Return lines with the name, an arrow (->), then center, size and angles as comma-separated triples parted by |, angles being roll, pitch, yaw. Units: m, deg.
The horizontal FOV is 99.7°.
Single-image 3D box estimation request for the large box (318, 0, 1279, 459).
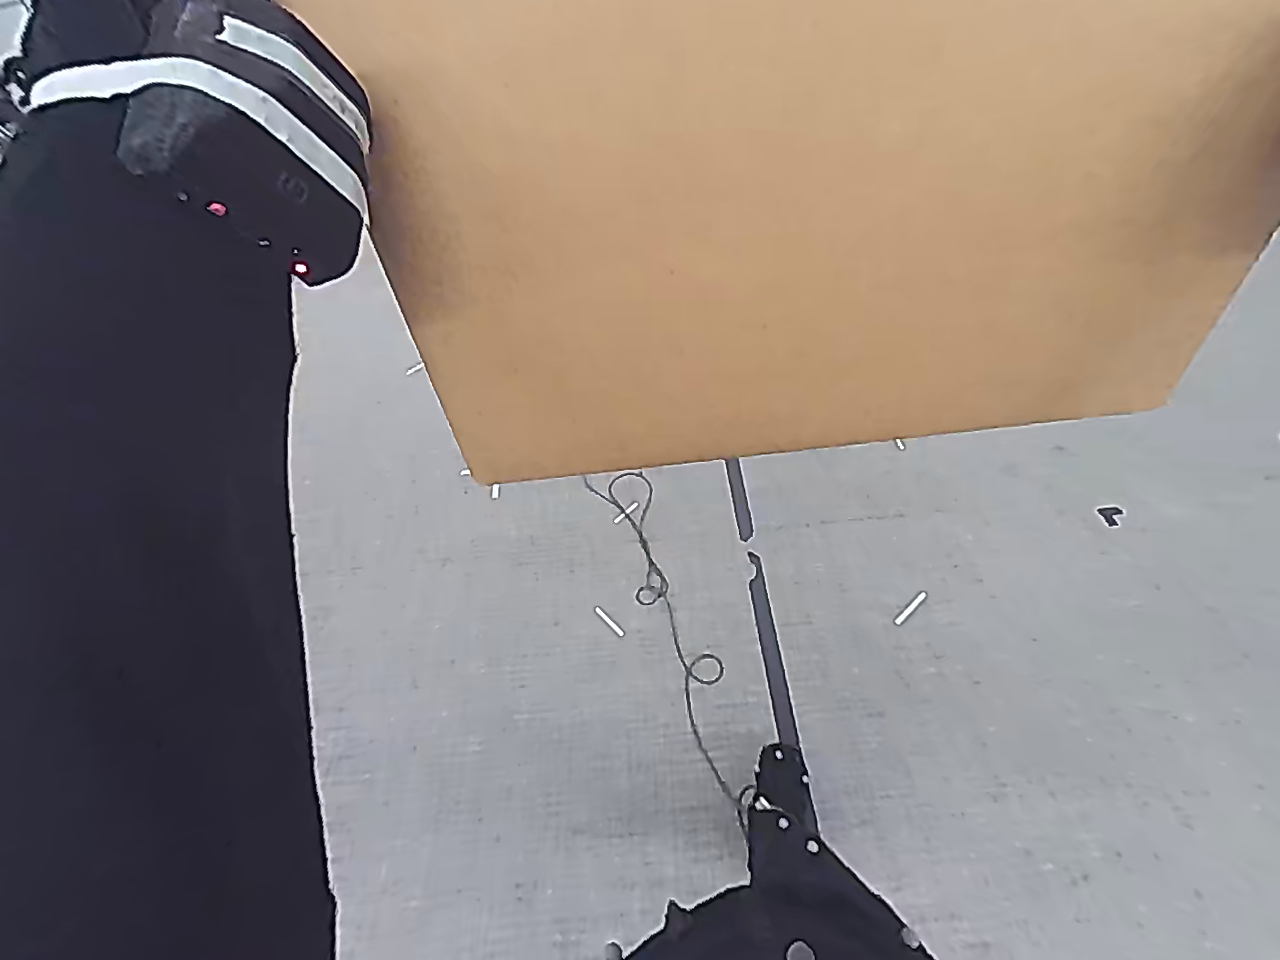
large box -> 0.076, -0.240, 0.340 | 0.408, 0.320, 0.320 | -6, 42, 1
